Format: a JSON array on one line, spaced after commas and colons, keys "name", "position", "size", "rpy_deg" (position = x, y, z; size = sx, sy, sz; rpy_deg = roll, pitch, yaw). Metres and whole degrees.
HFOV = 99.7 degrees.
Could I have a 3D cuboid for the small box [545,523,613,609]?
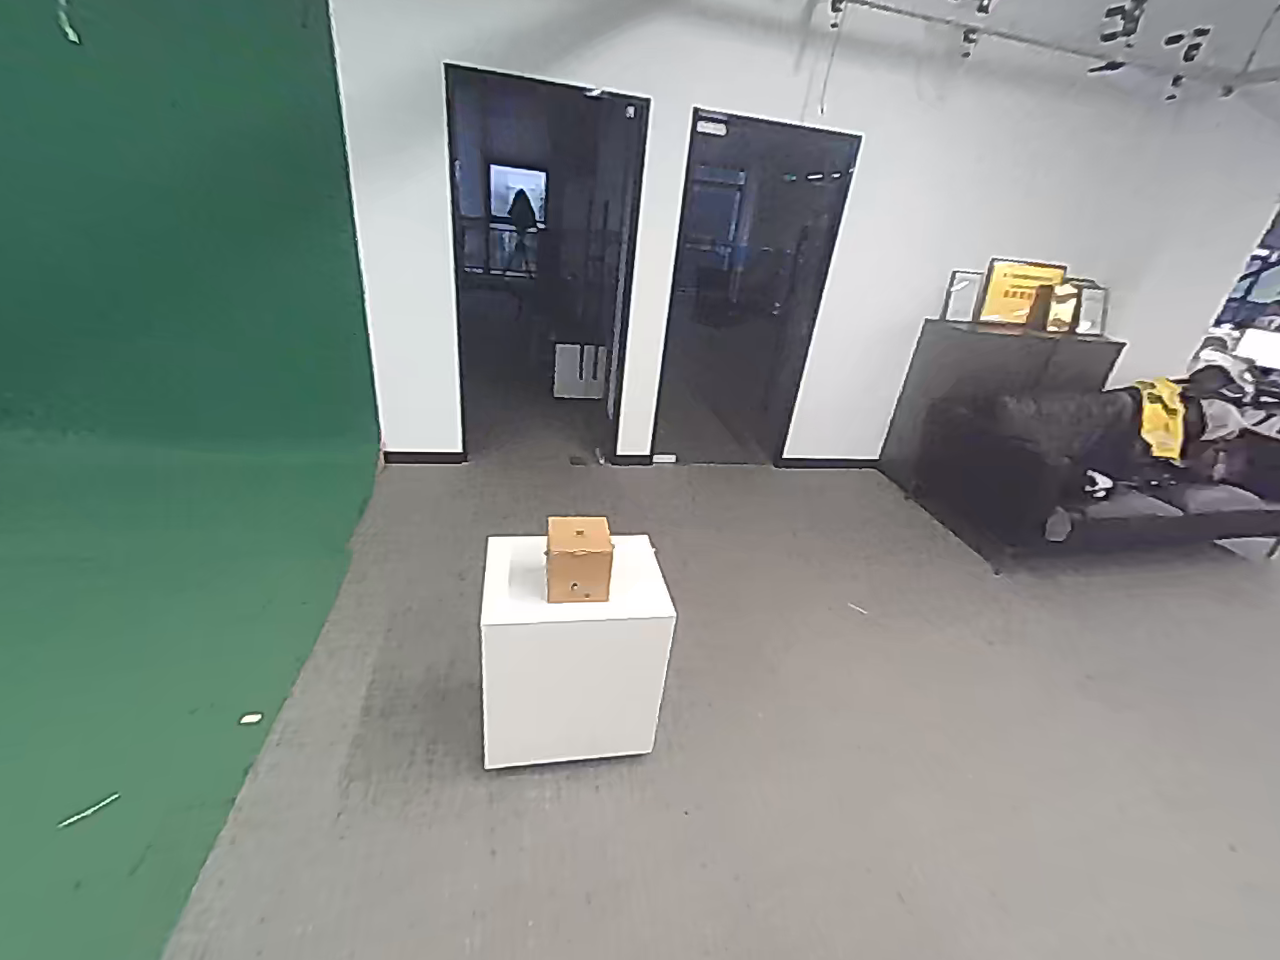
[{"name": "small box", "position": [-0.173, 0.234, 1.479], "size": [0.168, 0.176, 0.179], "rpy_deg": [1, 26, -12]}]
